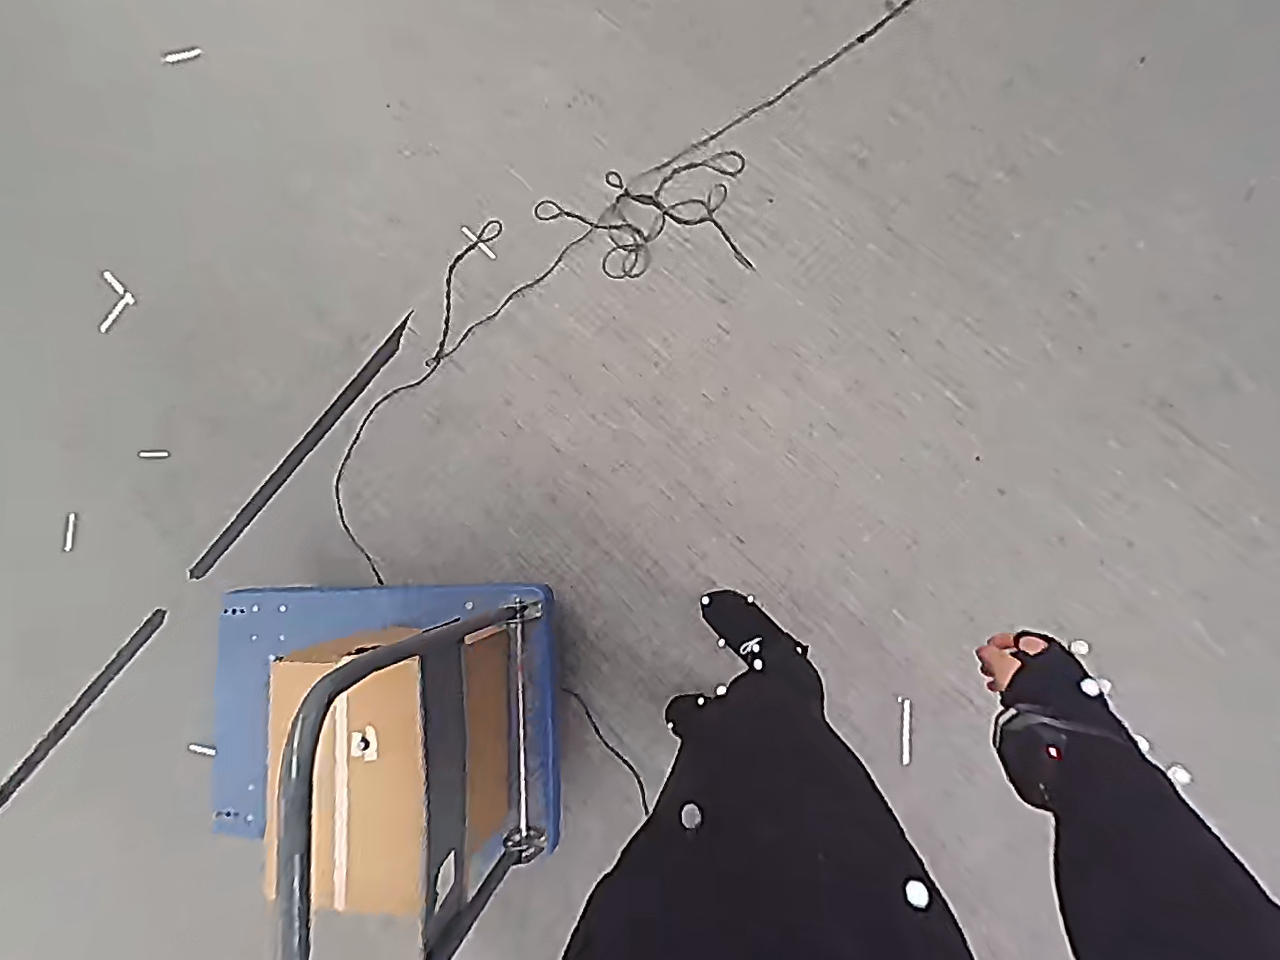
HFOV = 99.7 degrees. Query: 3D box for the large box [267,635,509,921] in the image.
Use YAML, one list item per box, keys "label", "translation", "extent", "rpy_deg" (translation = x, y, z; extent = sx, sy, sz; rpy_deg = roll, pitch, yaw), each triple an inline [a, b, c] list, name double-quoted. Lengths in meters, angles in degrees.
- label: "large box"
  translation: [-0.467, 0.534, 1.058]
  extent: [0.320, 0.320, 0.408]
  rpy_deg: [-3, 84, 11]
